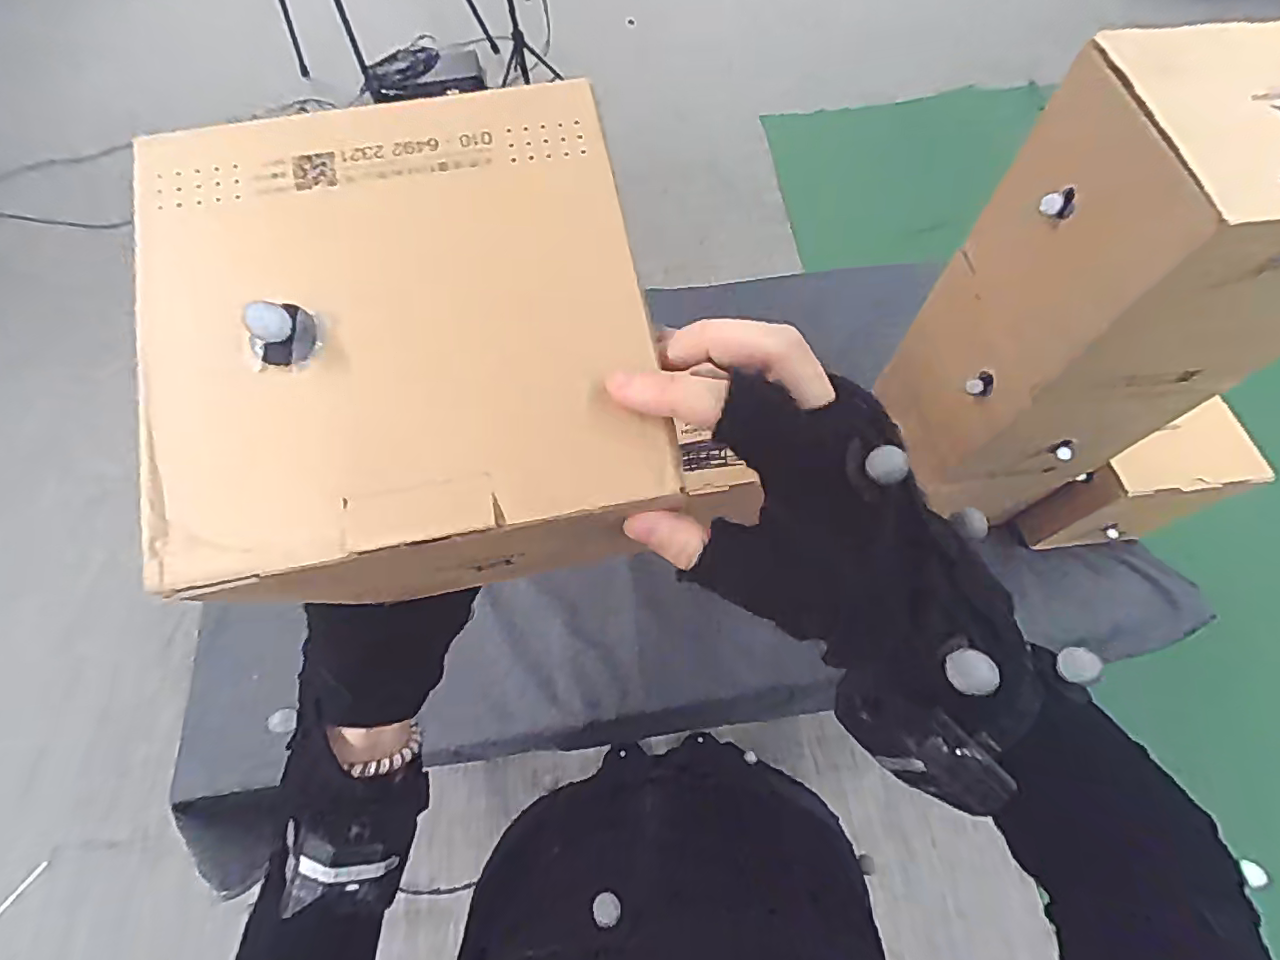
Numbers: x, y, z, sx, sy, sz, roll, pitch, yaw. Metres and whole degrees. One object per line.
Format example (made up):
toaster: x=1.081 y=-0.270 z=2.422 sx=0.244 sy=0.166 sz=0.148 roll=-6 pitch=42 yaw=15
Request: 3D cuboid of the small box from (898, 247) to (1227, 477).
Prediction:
small box: x=0.389 y=-0.112 z=0.540 sx=0.168 sy=0.176 sz=0.179 roll=-6 pitch=64 yaw=0

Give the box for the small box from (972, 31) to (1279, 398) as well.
small box: x=0.381 y=-0.181 z=0.391 sx=0.168 sy=0.176 sz=0.179 roll=-4 pitch=64 yaw=1
